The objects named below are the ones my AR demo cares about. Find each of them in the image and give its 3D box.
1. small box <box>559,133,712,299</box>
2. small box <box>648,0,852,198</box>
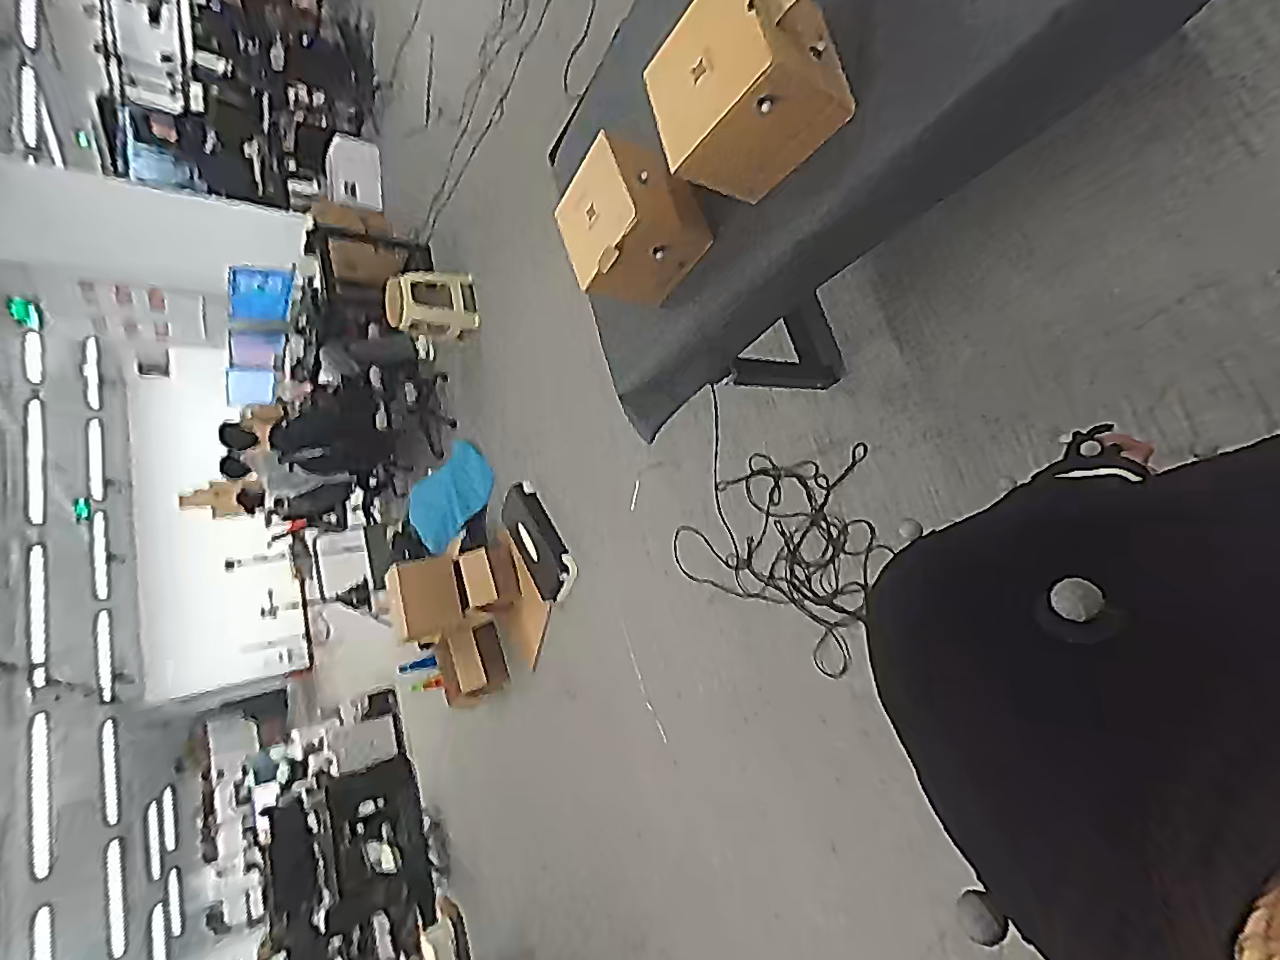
[{"bbox_3d":[-0.008,-0.424,0.902,0.168,0.176,0.179,-38,64,45],"label":"small box"},{"bbox_3d":[0.140,-0.508,0.706,0.179,0.176,0.168,-26,73,49],"label":"small box"}]
